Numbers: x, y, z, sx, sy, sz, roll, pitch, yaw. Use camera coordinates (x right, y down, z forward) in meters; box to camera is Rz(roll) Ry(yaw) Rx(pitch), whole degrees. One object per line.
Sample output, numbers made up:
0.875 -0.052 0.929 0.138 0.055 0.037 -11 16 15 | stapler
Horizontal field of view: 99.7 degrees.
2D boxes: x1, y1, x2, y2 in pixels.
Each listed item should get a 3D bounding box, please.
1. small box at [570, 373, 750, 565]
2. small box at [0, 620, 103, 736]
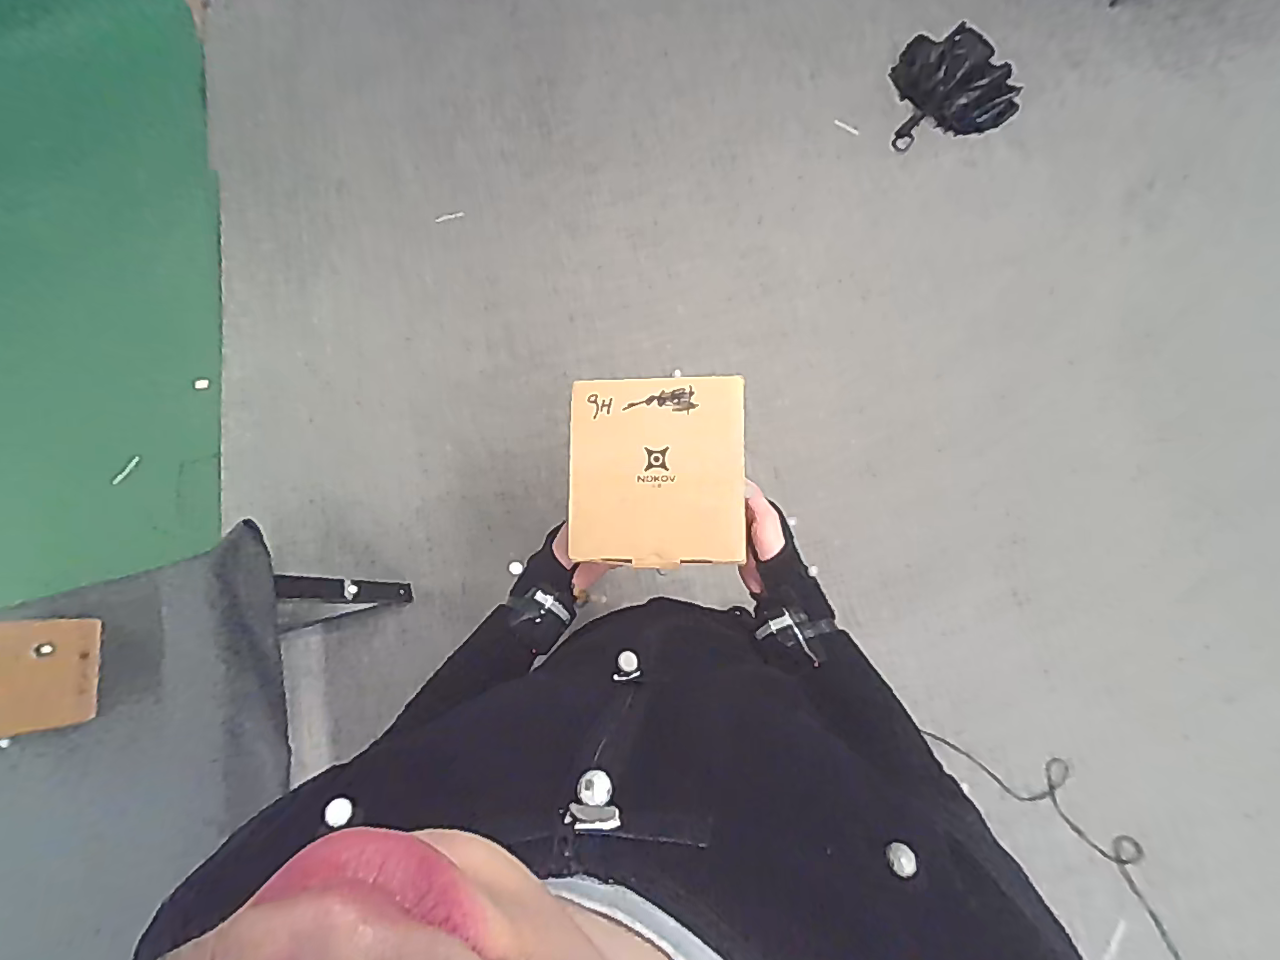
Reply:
0.028 -0.004 0.572 0.168 0.176 0.179 0 84 7 | small box
-1.003 0.314 0.842 0.179 0.176 0.168 -11 74 4 | small box
